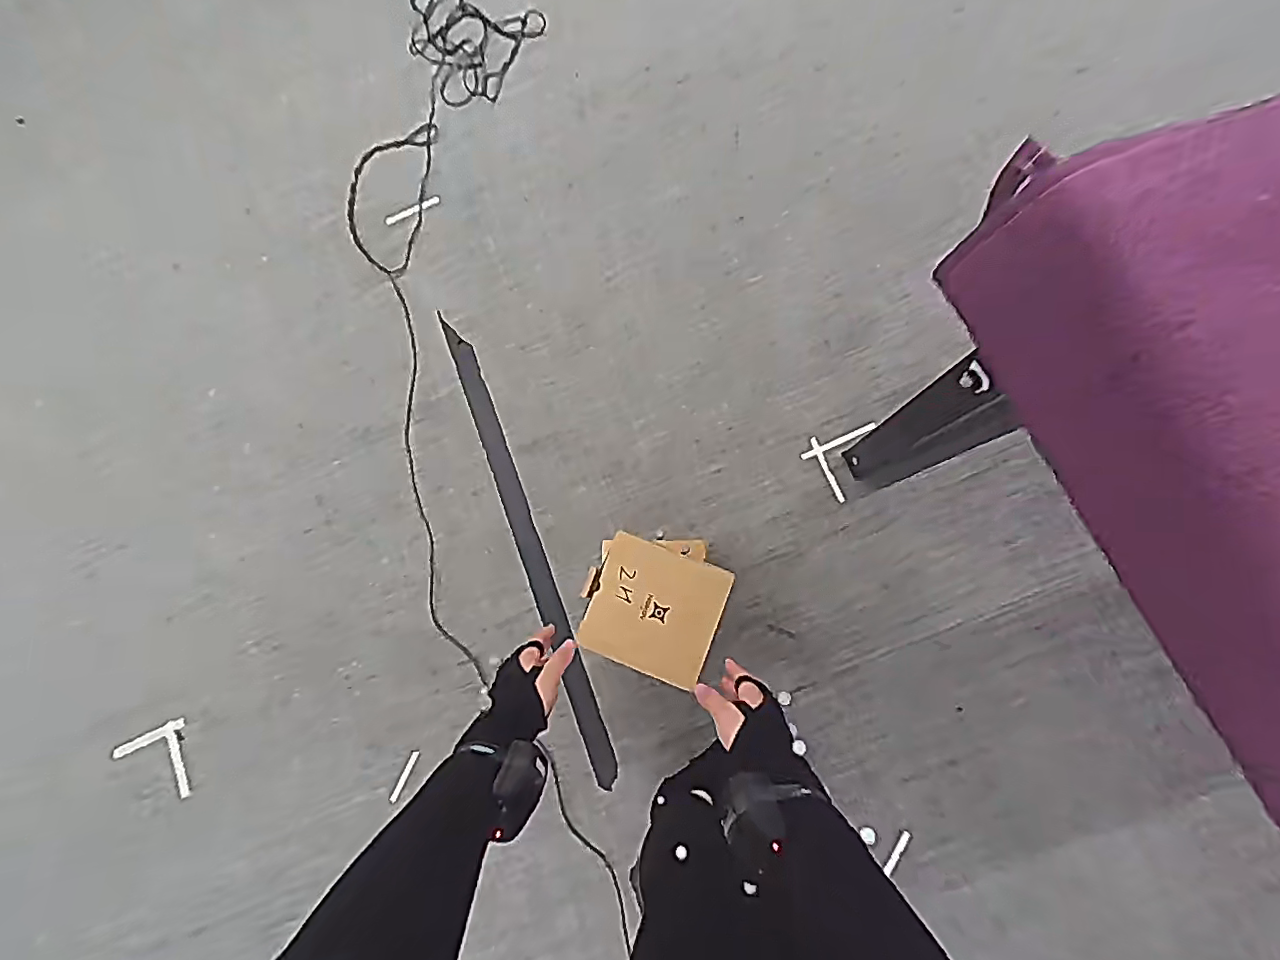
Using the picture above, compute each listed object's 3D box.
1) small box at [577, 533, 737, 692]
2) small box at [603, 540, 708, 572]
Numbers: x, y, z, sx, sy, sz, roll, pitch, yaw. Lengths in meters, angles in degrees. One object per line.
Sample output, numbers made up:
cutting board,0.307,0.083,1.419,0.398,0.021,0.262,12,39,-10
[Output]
small box,0.031,0.186,0.805,0.179,0.176,0.168,20,84,10
small box,0.034,0.194,0.972,0.179,0.176,0.168,-1,82,7
